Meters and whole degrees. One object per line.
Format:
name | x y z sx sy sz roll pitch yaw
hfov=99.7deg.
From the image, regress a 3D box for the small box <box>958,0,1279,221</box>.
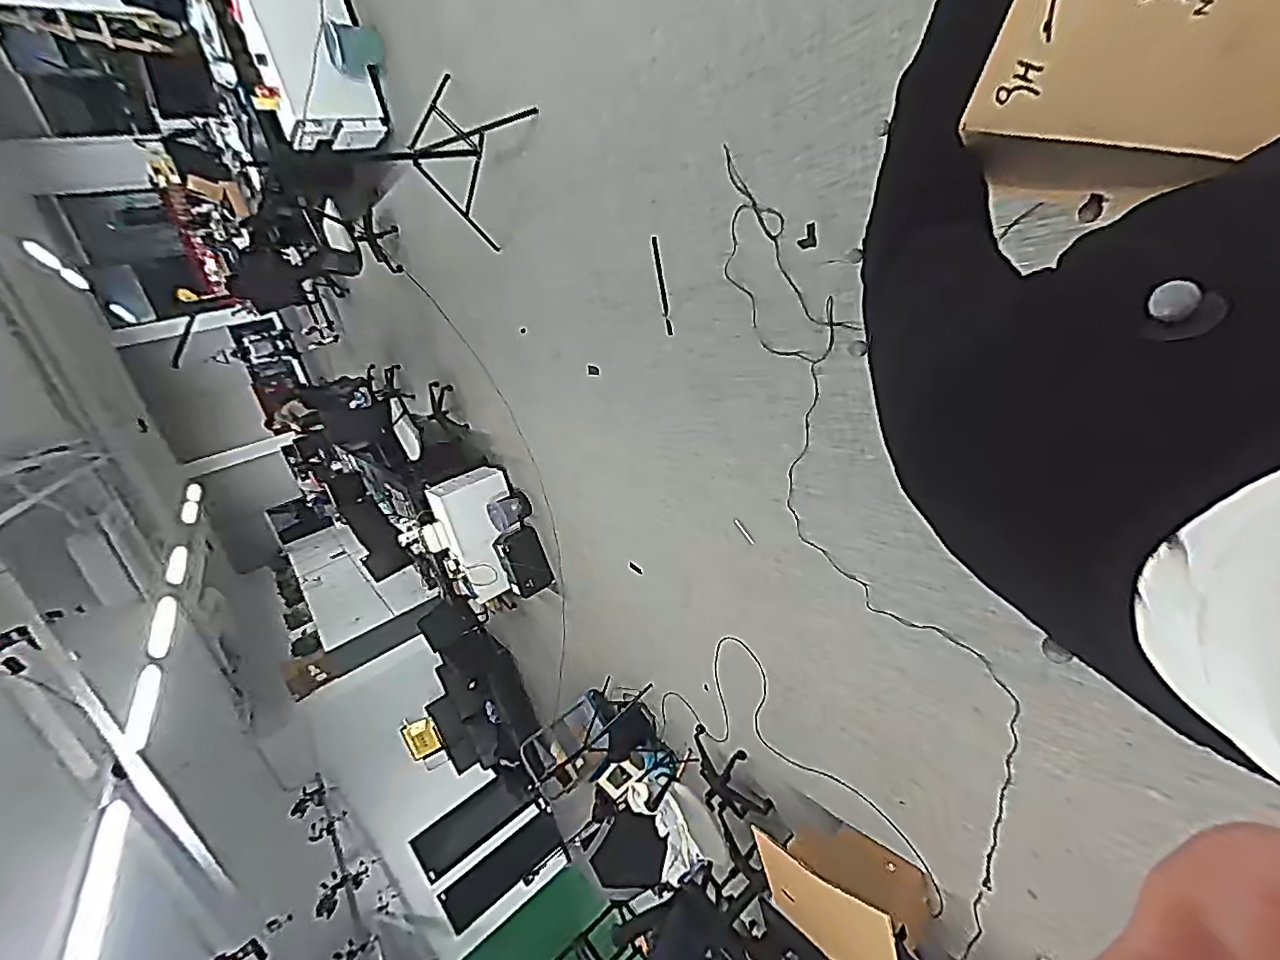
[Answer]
small box | 0.354 -0.289 0.363 0.179 0.176 0.168 30 116 29
